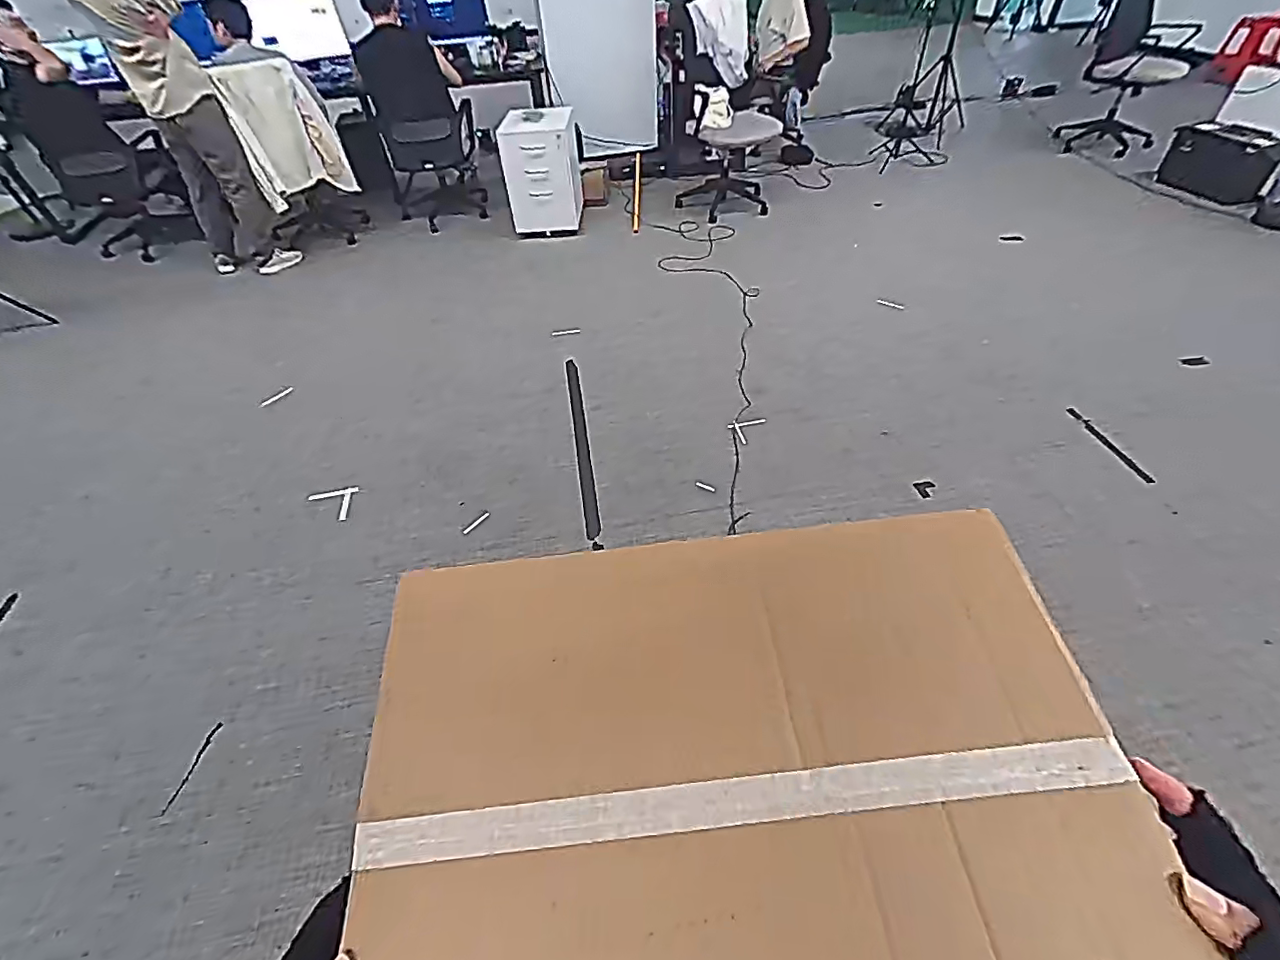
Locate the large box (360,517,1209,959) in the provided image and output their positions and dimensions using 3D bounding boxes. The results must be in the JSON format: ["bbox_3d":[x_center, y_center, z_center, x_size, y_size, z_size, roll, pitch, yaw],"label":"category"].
[{"bbox_3d":[0.063,0.259,0.416,0.408,0.320,0.320,-7,56,0],"label":"large box"}]
